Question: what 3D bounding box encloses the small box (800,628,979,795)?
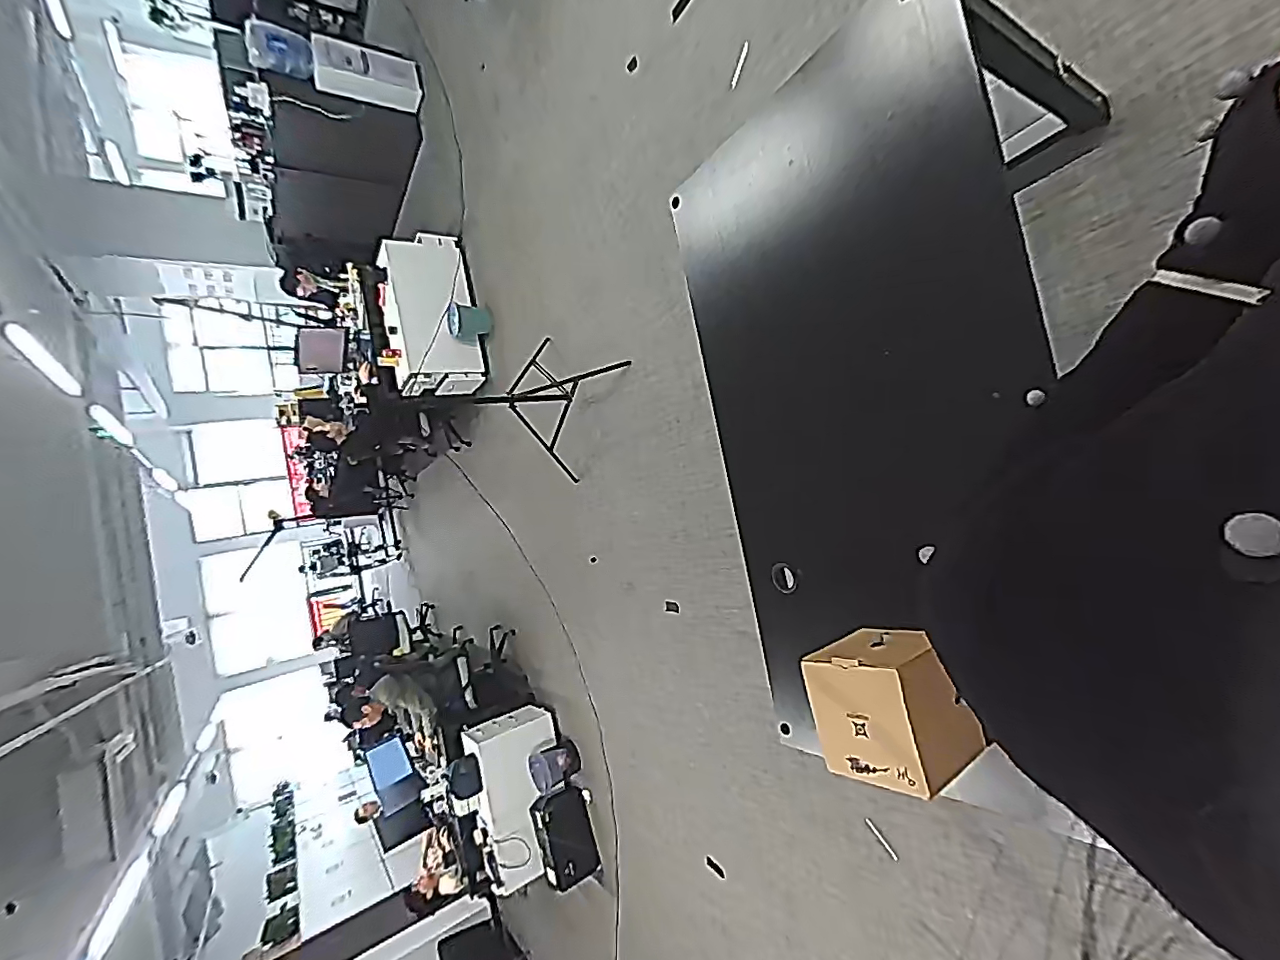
[{"bbox_3d":[0.377,0.331,0.820,0.168,0.176,0.179,-19,81,55],"label":"small box"}]
